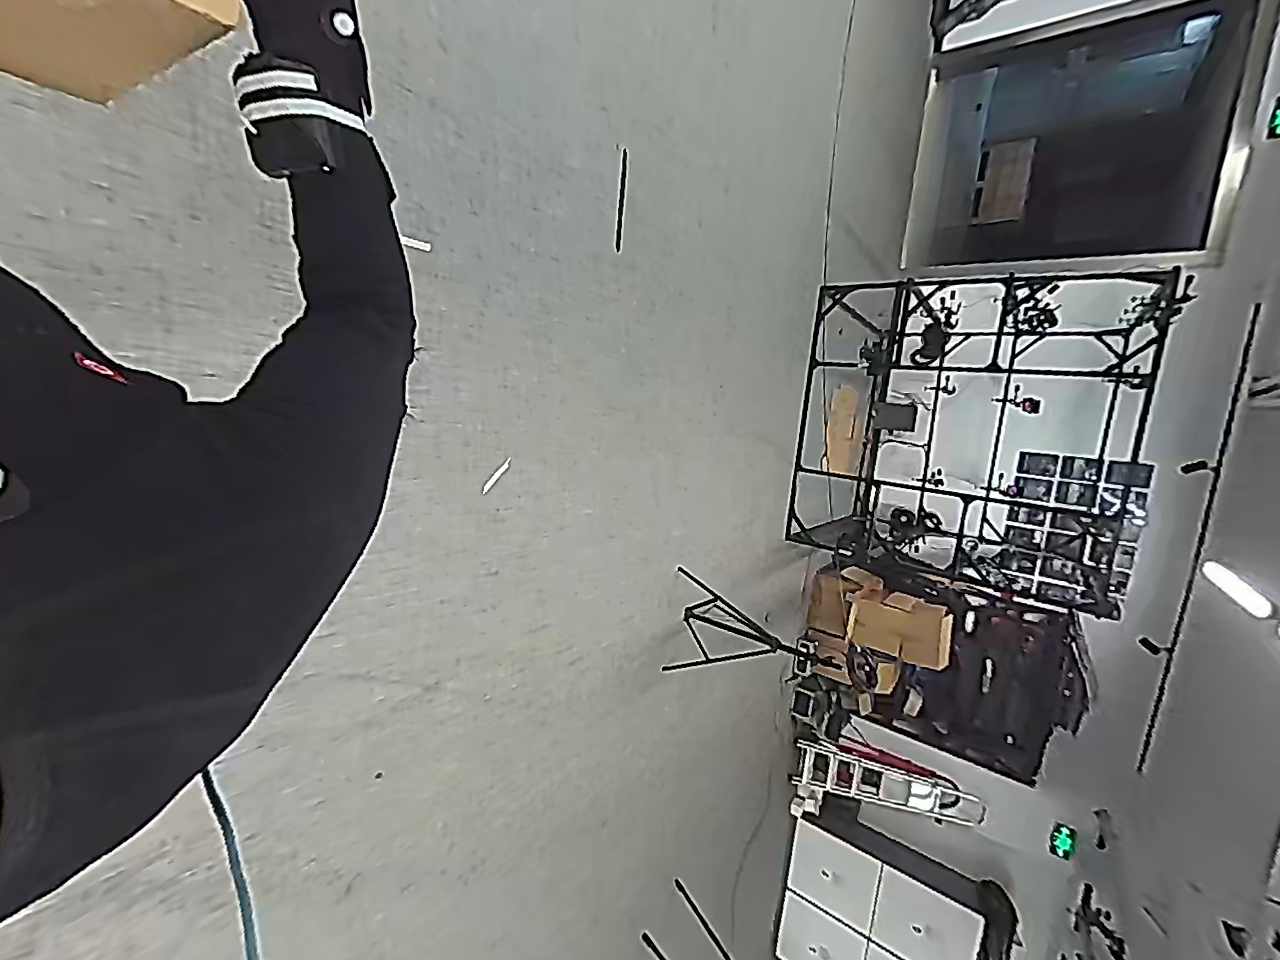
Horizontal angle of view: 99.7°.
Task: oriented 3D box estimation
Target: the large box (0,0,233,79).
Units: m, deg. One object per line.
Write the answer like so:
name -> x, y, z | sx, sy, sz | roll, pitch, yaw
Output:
large box -> -0.485, -0.467, 0.242 | 0.408, 0.320, 0.320 | -12, 113, -56
